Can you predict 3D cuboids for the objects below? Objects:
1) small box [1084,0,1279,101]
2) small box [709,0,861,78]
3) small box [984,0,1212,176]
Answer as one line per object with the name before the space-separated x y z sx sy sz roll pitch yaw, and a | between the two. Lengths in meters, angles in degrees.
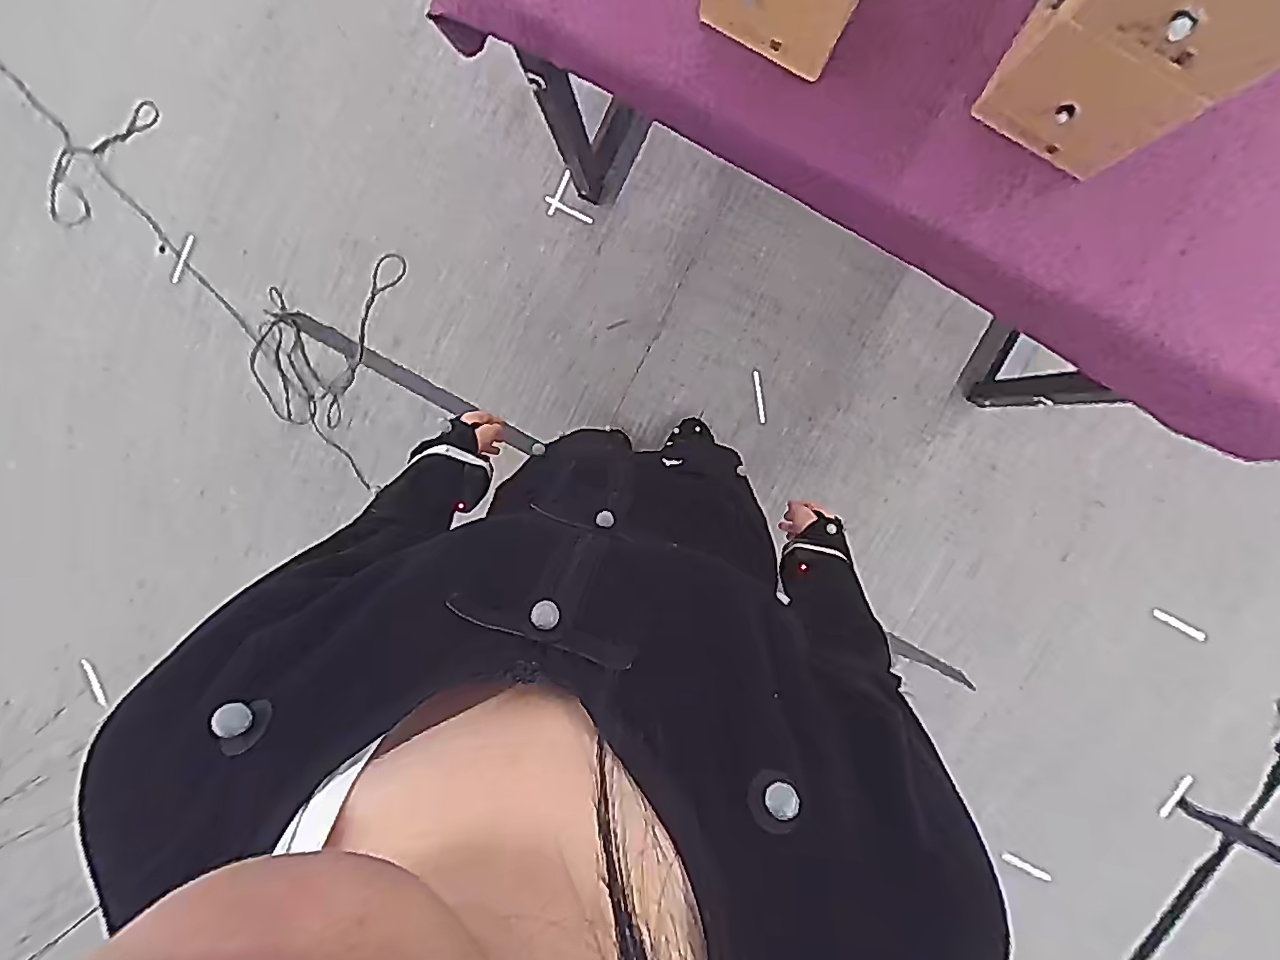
small box | 0.511 -0.455 0.418 0.168 0.176 0.179 31 98 0
small box | 0.184 -0.598 0.587 0.168 0.176 0.179 29 96 -1
small box | 0.517 -0.472 0.581 0.168 0.176 0.179 31 97 -1
